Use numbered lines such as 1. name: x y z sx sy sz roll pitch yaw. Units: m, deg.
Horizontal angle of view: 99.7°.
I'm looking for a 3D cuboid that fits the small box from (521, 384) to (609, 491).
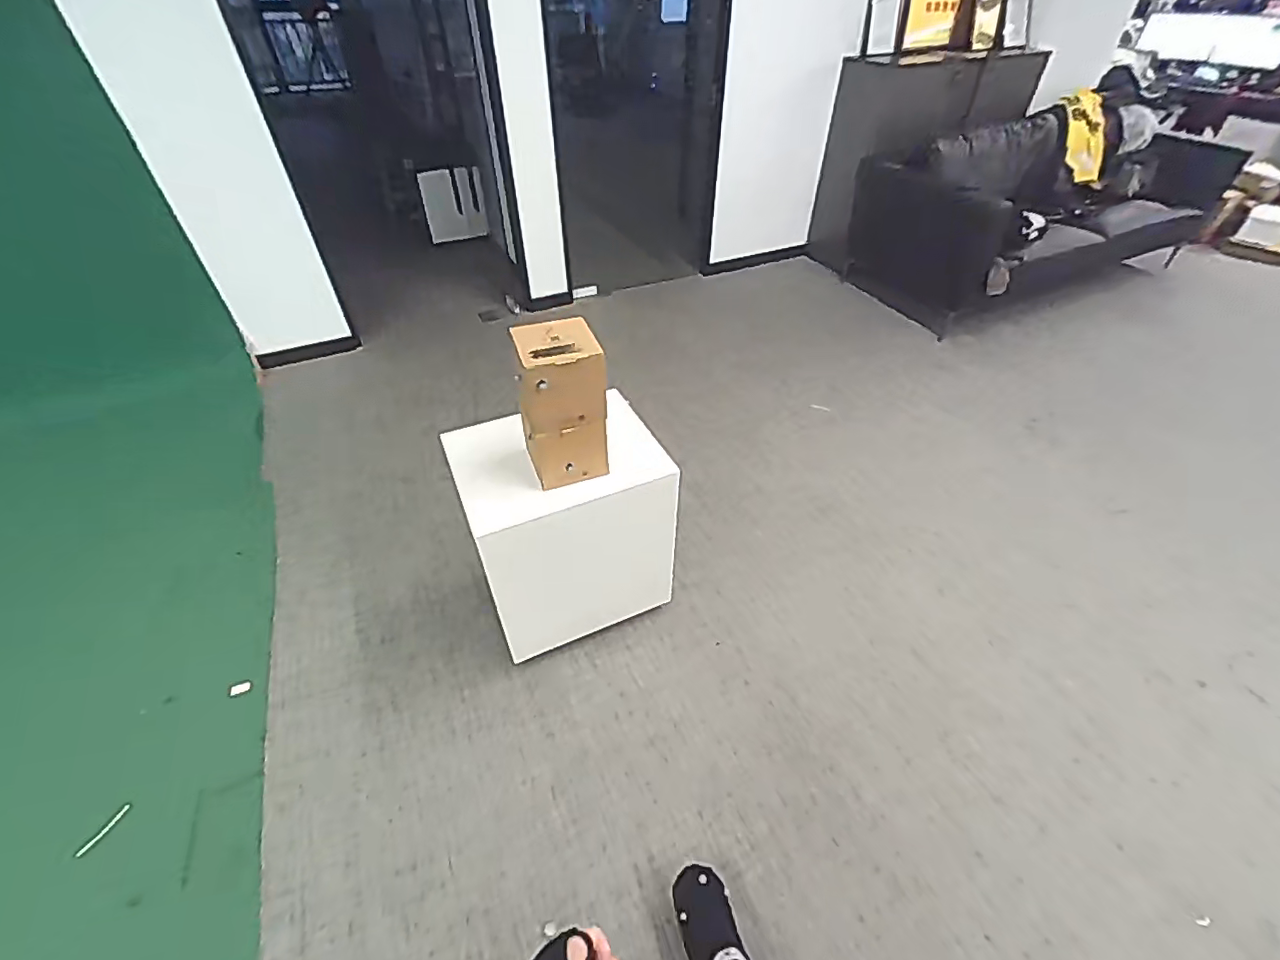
1. small box: -0.177 -0.101 1.289 0.168 0.176 0.179 -15 44 -16
